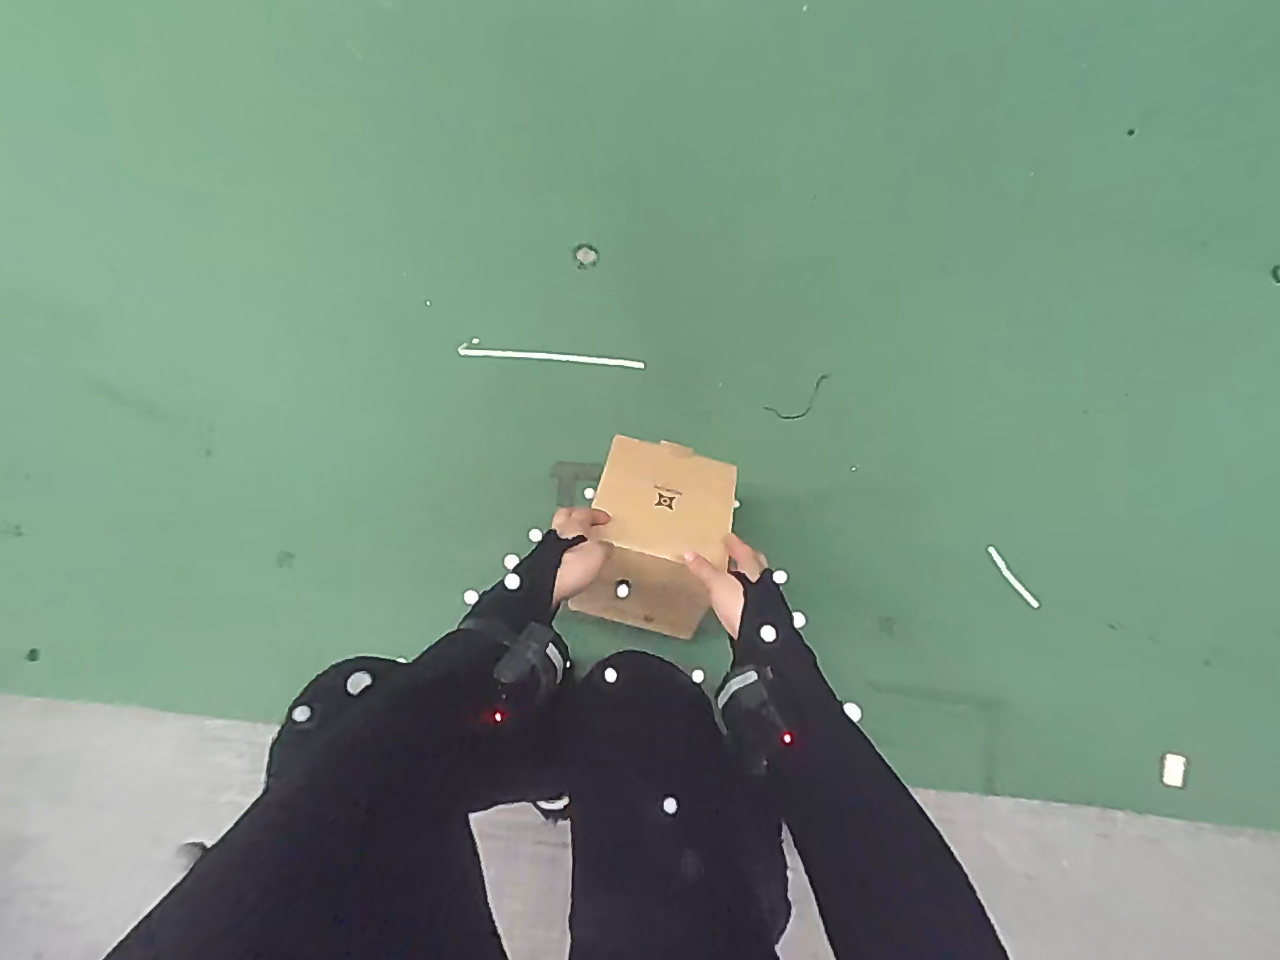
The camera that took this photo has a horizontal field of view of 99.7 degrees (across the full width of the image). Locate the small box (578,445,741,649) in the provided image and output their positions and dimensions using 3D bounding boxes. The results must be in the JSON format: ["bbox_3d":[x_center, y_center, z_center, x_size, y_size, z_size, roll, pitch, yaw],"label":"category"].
[{"bbox_3d":[0.022,0.089,0.690,0.168,0.179,0.176,15,133,-1],"label":"small box"}]
